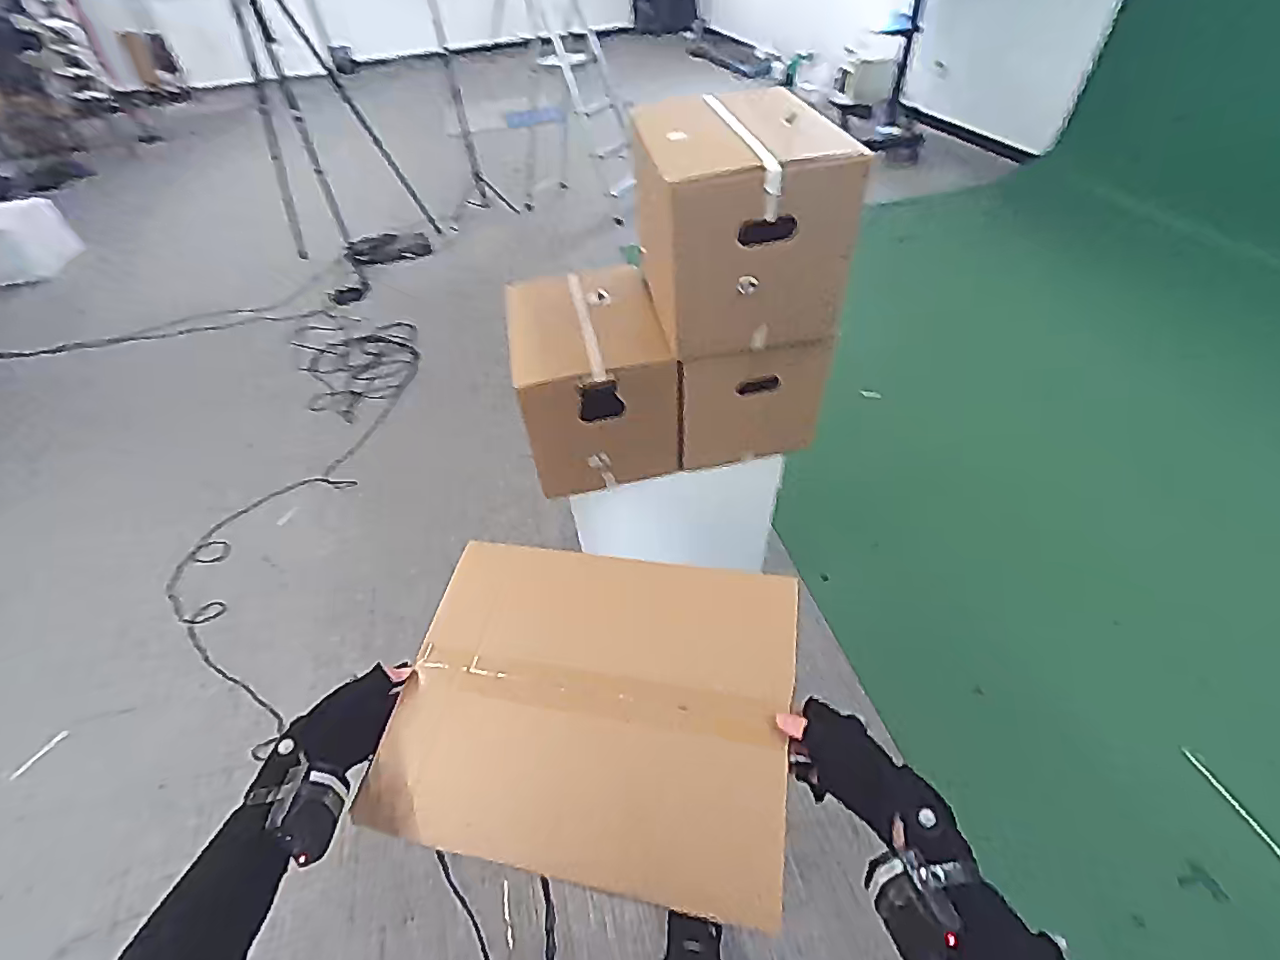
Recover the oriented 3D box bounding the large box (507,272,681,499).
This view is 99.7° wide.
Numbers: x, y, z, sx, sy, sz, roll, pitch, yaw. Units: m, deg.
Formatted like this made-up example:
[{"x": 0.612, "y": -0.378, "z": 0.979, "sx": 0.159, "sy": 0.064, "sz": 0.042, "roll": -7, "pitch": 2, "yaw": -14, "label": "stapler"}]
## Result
[{"x": -0.107, "y": -0.222, "z": 1.240, "sx": 0.320, "sy": 0.320, "sz": 0.408, "roll": -11, "pitch": 46, "yaw": -6, "label": "large box"}]
